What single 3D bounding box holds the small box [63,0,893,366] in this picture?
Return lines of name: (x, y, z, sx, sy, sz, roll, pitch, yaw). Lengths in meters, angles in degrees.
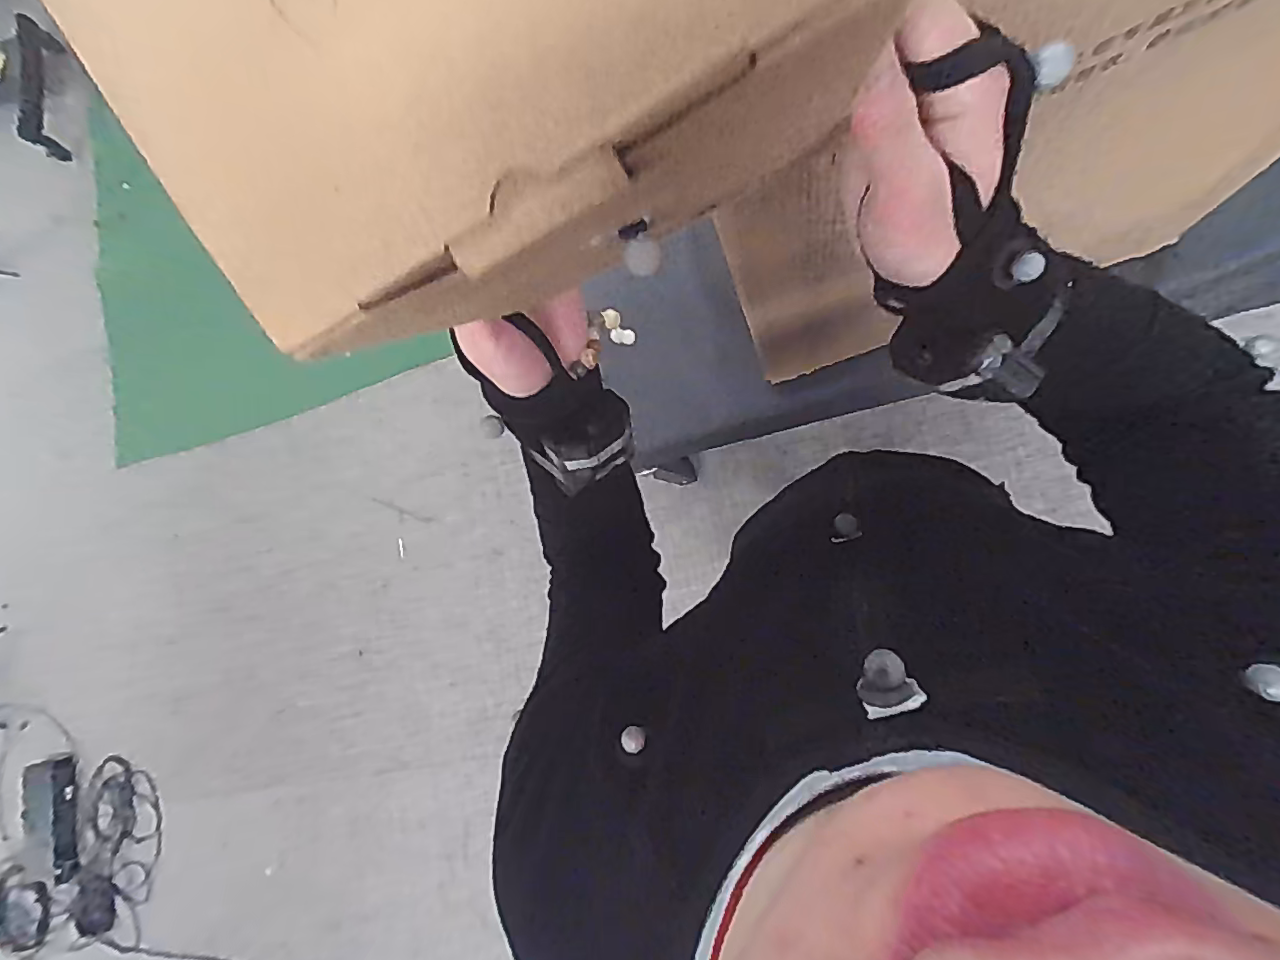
small box: (-0.040, -0.162, 0.172, 0.168, 0.176, 0.179, -20, 107, 21)
